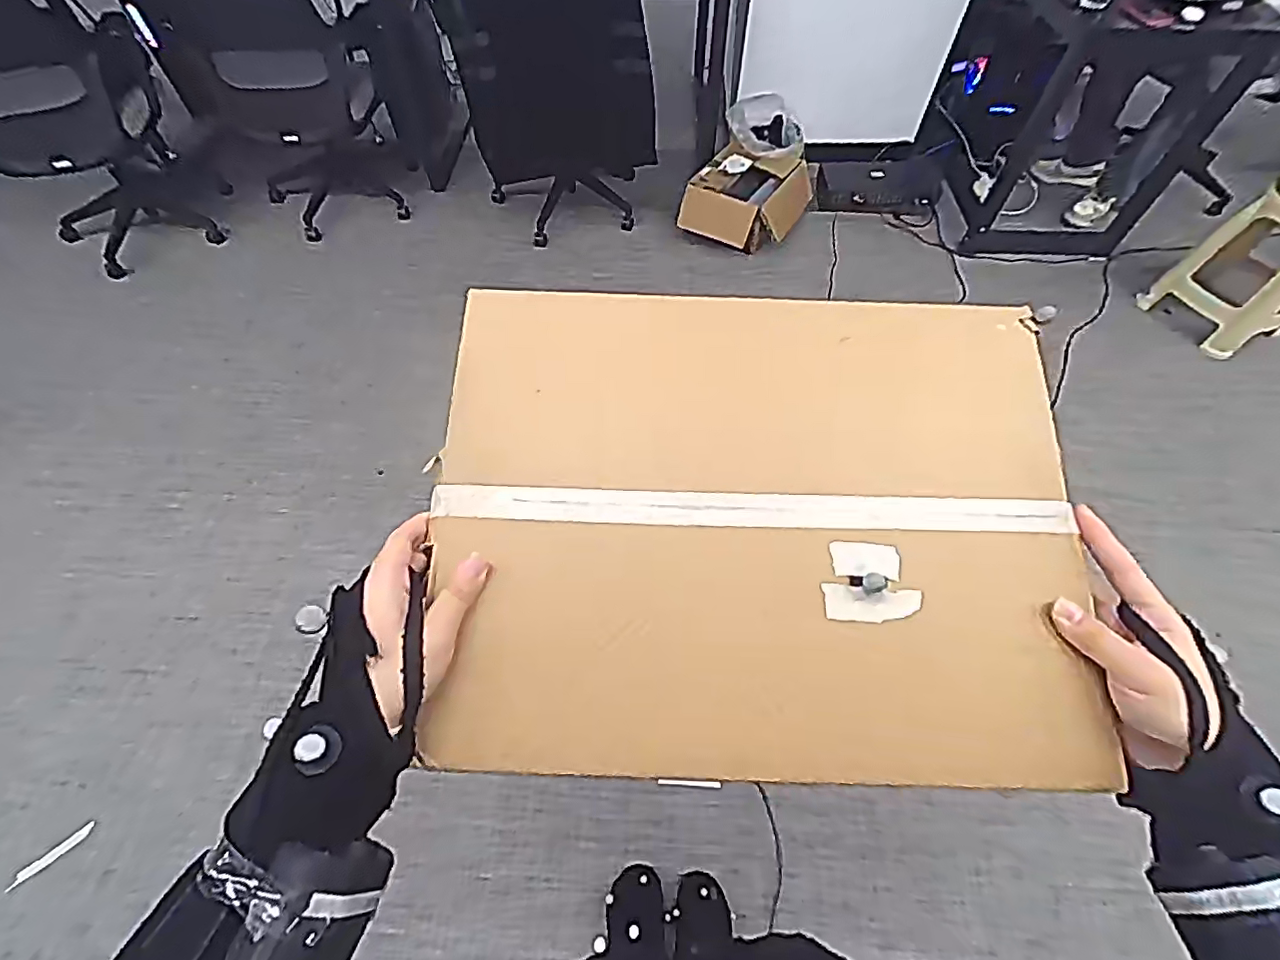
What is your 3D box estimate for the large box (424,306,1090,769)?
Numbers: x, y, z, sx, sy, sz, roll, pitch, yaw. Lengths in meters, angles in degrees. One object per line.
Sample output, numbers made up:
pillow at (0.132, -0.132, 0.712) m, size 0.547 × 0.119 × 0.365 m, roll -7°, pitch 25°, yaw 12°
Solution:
large box at (0.068, 0.063, 0.502) m, size 0.408 × 0.320 × 0.320 m, roll 2°, pitch 74°, yaw 0°
